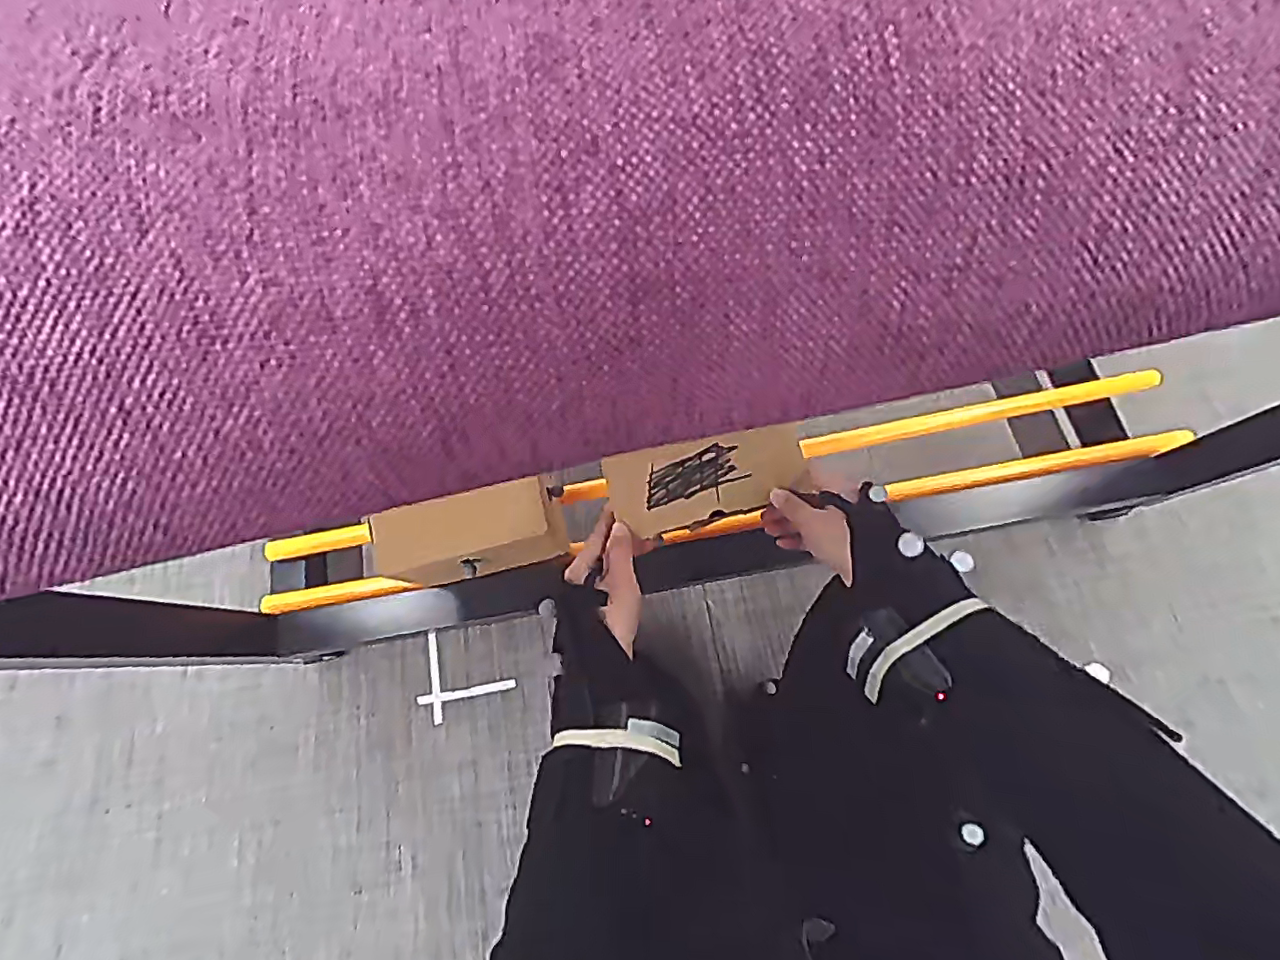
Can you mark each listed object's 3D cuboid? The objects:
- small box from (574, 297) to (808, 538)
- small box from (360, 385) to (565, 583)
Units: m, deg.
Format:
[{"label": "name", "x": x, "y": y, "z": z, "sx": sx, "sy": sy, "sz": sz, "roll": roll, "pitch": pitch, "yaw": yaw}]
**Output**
[{"label": "small box", "x": 0.043, "y": -0.047, "z": 0.534, "sx": 0.168, "sy": 0.176, "sz": 0.179, "roll": -15, "pitch": 84, "yaw": -1}, {"label": "small box", "x": -0.189, "y": 0.015, "z": 0.624, "sx": 0.179, "sy": 0.176, "sz": 0.168, "roll": -14, "pitch": 74, "yaw": -2}]
